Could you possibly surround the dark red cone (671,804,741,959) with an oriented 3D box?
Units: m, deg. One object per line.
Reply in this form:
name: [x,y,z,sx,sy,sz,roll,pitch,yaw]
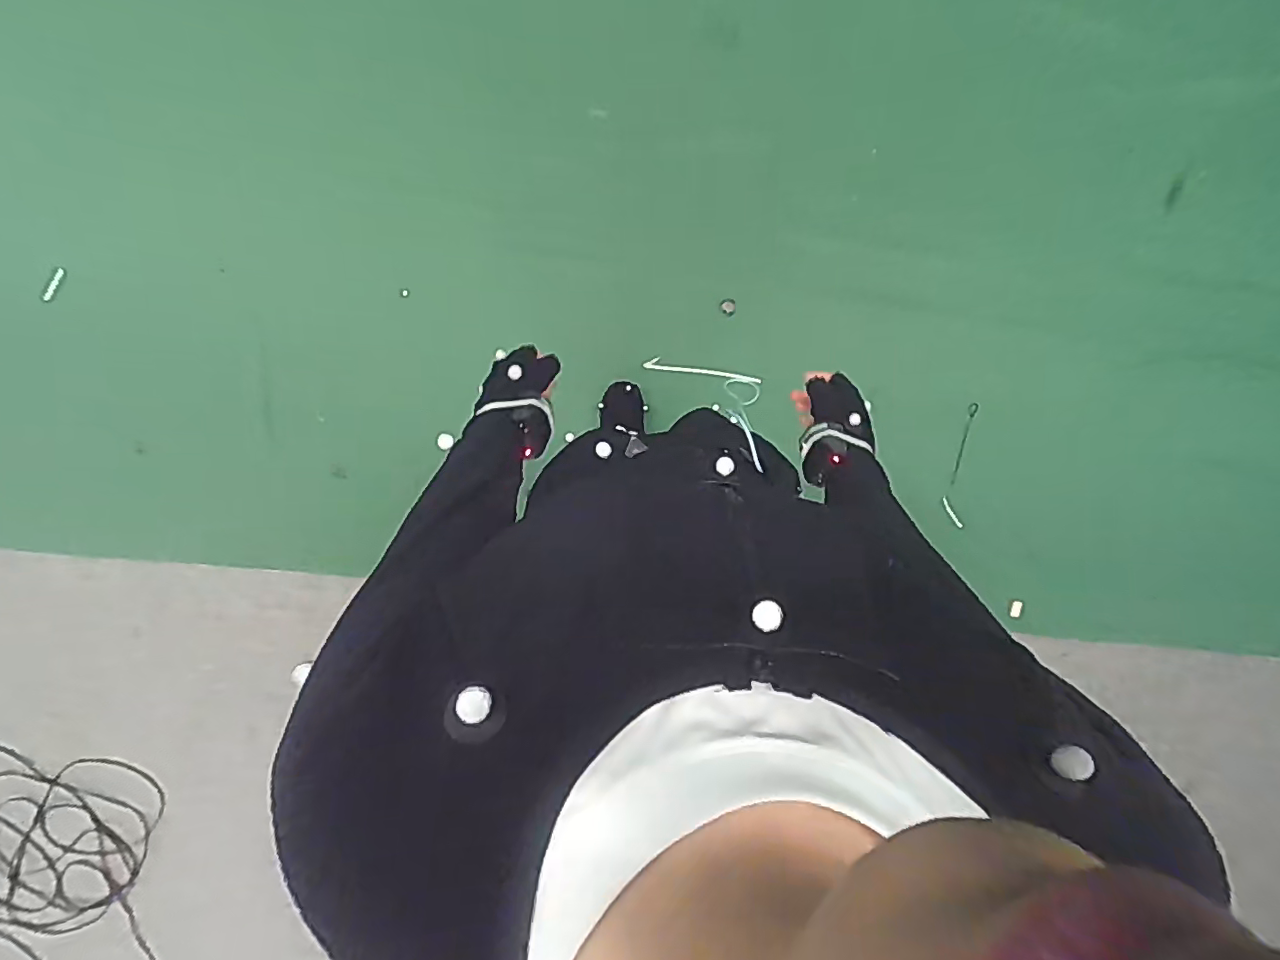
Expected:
dark red cone: [0.203,1.062,1.426,0.202,0.394,0.201,0,96,-3]
